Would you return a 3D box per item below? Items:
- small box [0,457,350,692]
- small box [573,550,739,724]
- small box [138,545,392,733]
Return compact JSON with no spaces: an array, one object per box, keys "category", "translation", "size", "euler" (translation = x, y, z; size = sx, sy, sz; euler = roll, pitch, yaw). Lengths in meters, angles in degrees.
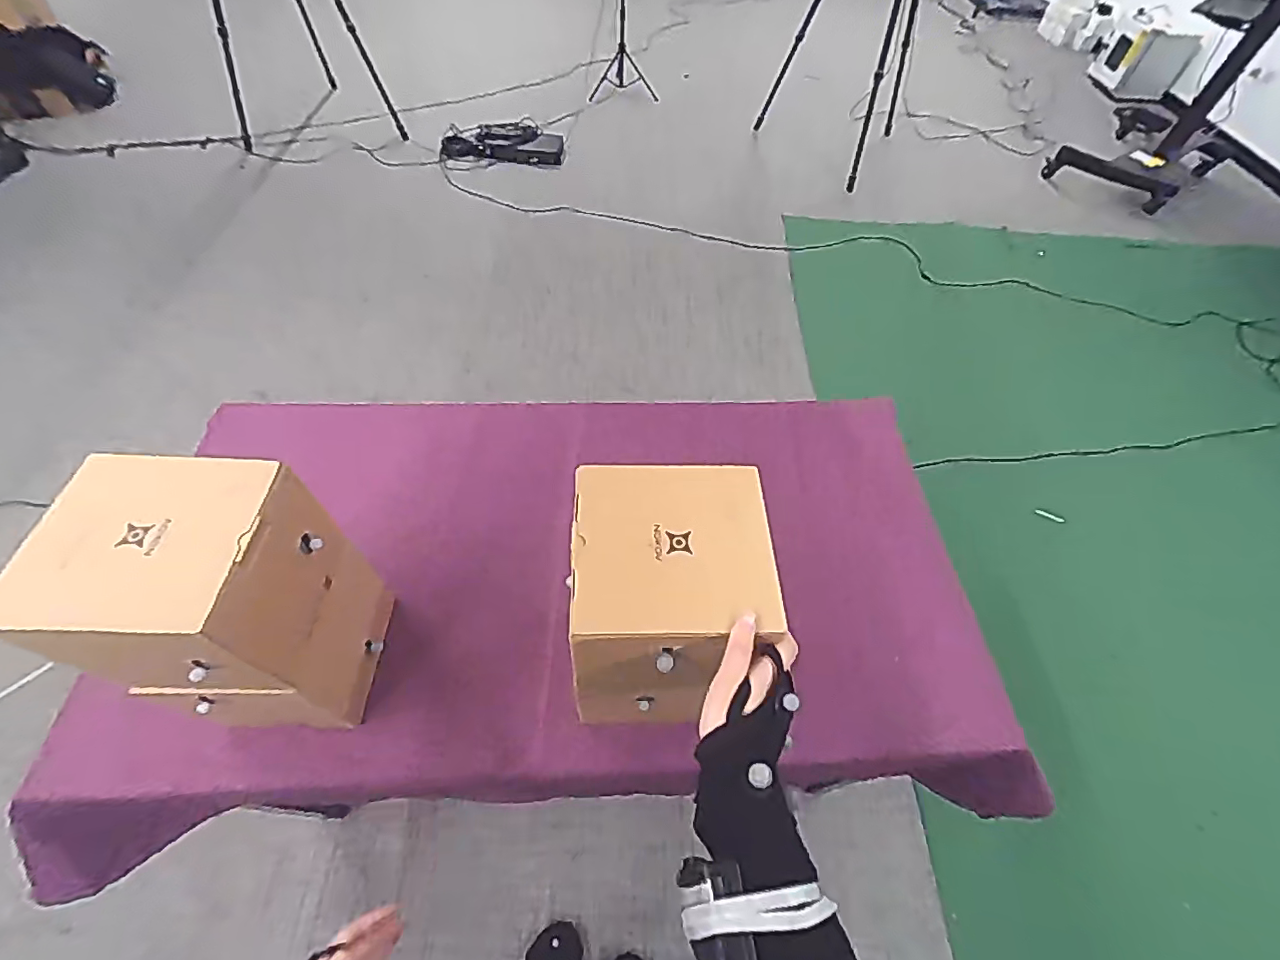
[{"category":"small box","translation":[-0.414,0.097,0.518],"size":[0.179,0.176,0.168],"euler":[2,54,-1]},{"category":"small box","translation":[0.014,0.199,0.670],"size":[0.179,0.176,0.168],"euler":[1,55,-3]},{"category":"small box","translation":[-0.422,0.191,0.652],"size":[0.168,0.176,0.179],"euler":[1,54,-2]}]
